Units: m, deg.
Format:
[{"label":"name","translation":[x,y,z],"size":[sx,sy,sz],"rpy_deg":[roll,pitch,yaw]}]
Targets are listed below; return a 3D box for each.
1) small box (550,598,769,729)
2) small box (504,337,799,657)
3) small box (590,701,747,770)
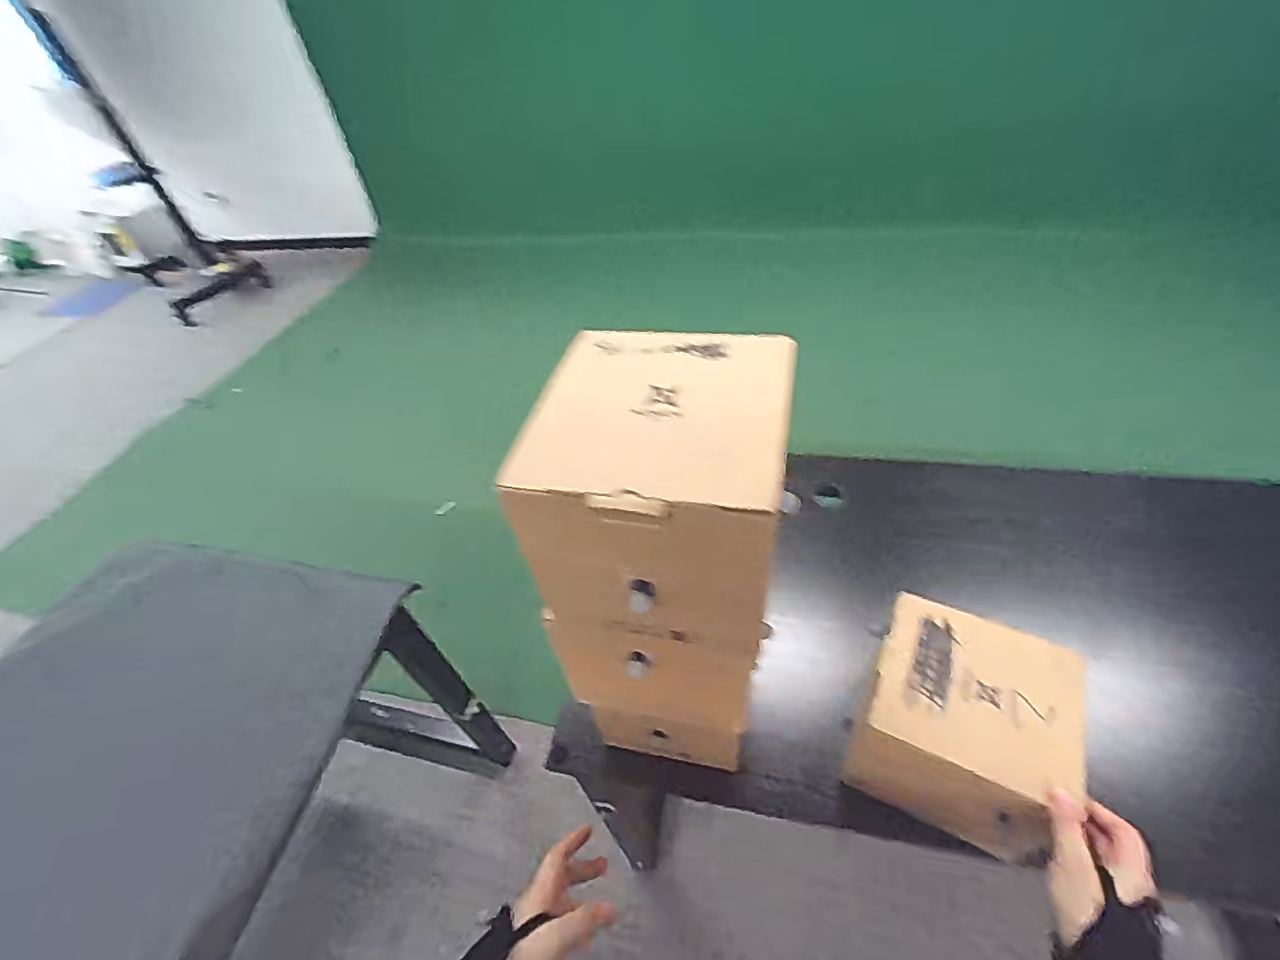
[{"label":"small box","translation":[0.036,0.125,0.531],"size":[0.179,0.176,0.168],"rpy_deg":[5,47,14]},{"label":"small box","translation":[0.027,0.011,0.412],"size":[0.168,0.176,0.179],"rpy_deg":[5,48,15]},{"label":"small box","translation":[0.051,0.226,0.657],"size":[0.168,0.176,0.179],"rpy_deg":[5,46,13]}]
